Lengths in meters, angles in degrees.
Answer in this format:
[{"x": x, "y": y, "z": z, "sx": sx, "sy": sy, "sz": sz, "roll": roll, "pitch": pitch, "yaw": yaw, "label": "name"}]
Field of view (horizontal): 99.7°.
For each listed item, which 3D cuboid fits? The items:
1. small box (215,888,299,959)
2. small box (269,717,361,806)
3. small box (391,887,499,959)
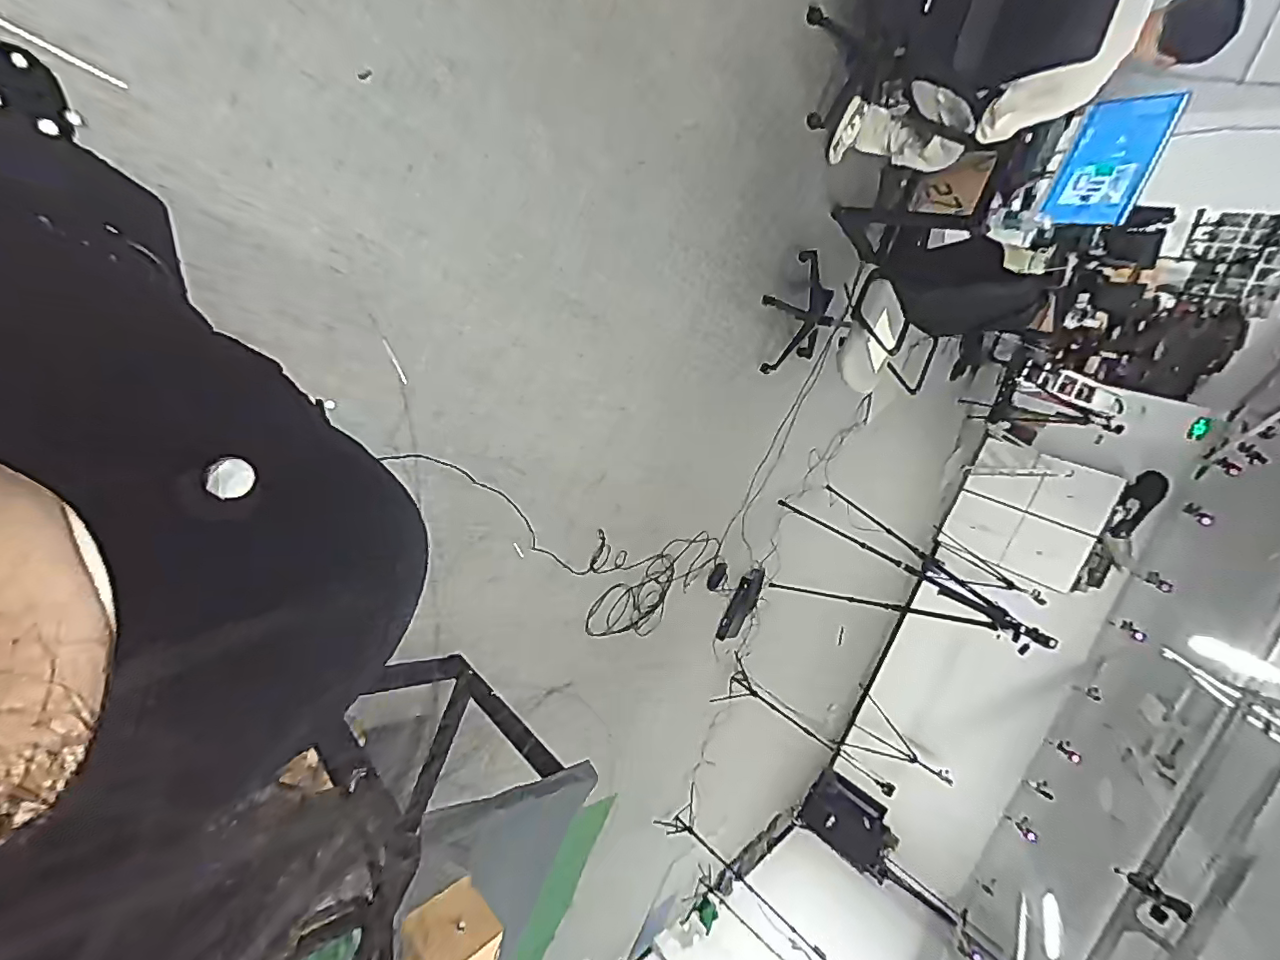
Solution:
[{"x": -1.253, "y": 1.498, "z": 1.763, "sx": 0.179, "sy": 0.176, "sz": 0.168, "roll": 7, "pitch": 106, "yaw": -52, "label": "small box"}, {"x": -1.015, "y": 0.866, "z": 1.681, "sx": 0.179, "sy": 0.176, "sz": 0.168, "roll": 21, "pitch": 94, "yaw": -54, "label": "small box"}, {"x": -0.464, "y": 1.126, "z": 1.276, "sx": 0.179, "sy": 0.176, "sz": 0.168, "roll": -5, "pitch": 114, "yaw": -49, "label": "small box"}]
